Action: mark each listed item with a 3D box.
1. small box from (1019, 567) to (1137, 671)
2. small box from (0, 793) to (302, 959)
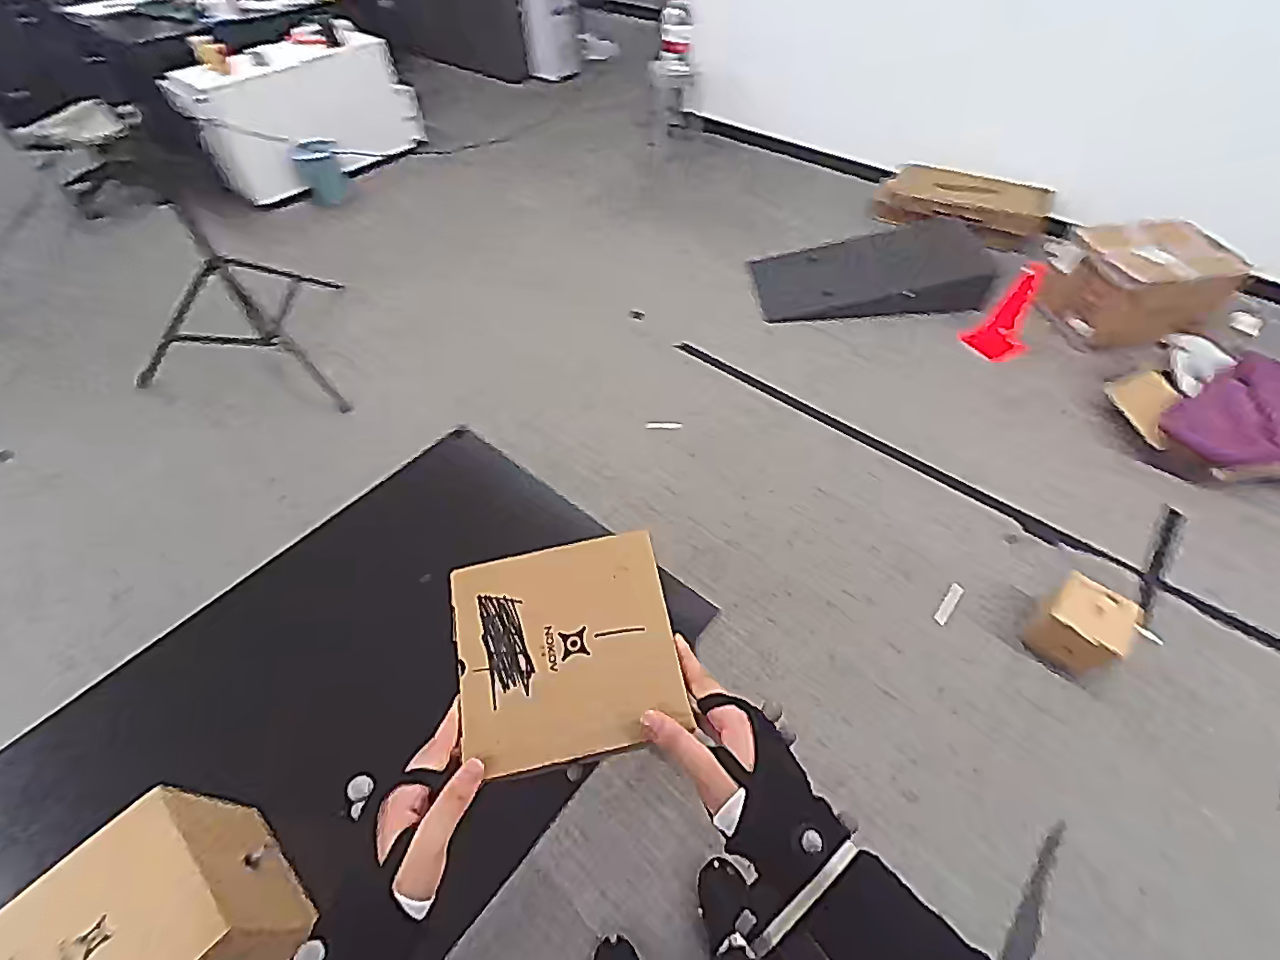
[{"bbox_3d":[1.156,0.375,1.442,0.168,0.176,0.179,35,61,25],"label":"small box"},{"bbox_3d":[-0.459,0.439,0.508,0.168,0.176,0.179,34,60,25],"label":"small box"}]
